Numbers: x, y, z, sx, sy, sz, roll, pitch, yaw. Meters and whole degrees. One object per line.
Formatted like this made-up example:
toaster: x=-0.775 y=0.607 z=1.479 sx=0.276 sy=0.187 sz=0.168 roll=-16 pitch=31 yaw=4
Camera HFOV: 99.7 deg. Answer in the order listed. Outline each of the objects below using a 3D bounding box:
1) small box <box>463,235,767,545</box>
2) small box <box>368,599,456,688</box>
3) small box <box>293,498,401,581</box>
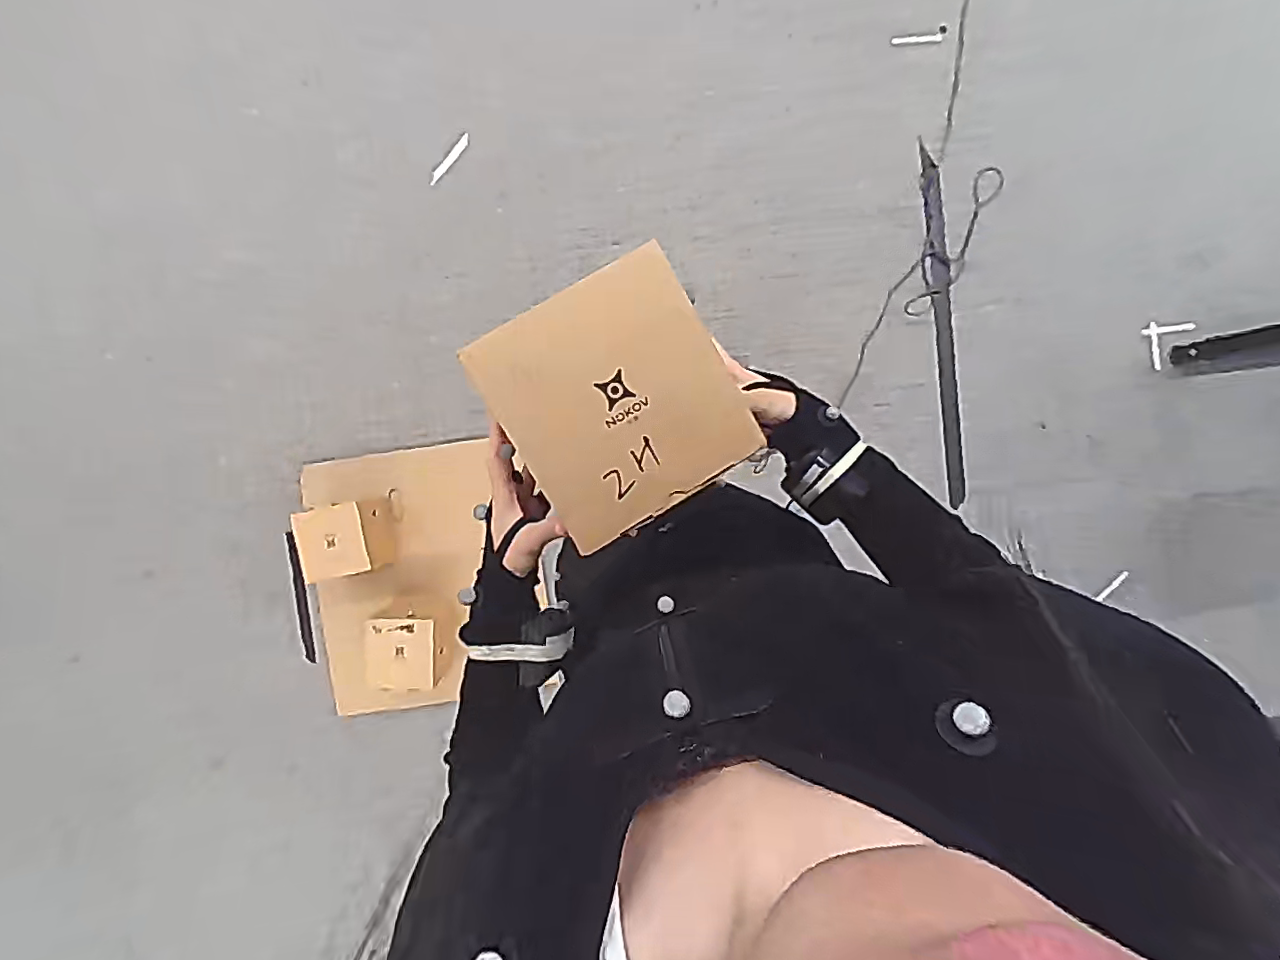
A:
small box: x=-0.025 y=-0.069 z=0.470 sx=0.168 sy=0.176 sz=0.179 roll=-31 pitch=98 yaw=-4
small box: x=-0.580 y=0.416 z=1.391 sx=0.168 sy=0.176 sz=0.179 roll=1 pitch=93 yaw=-2
small box: x=-0.741 y=0.144 z=1.382 sx=0.168 sy=0.176 sz=0.179 roll=-13 pitch=91 yaw=0
